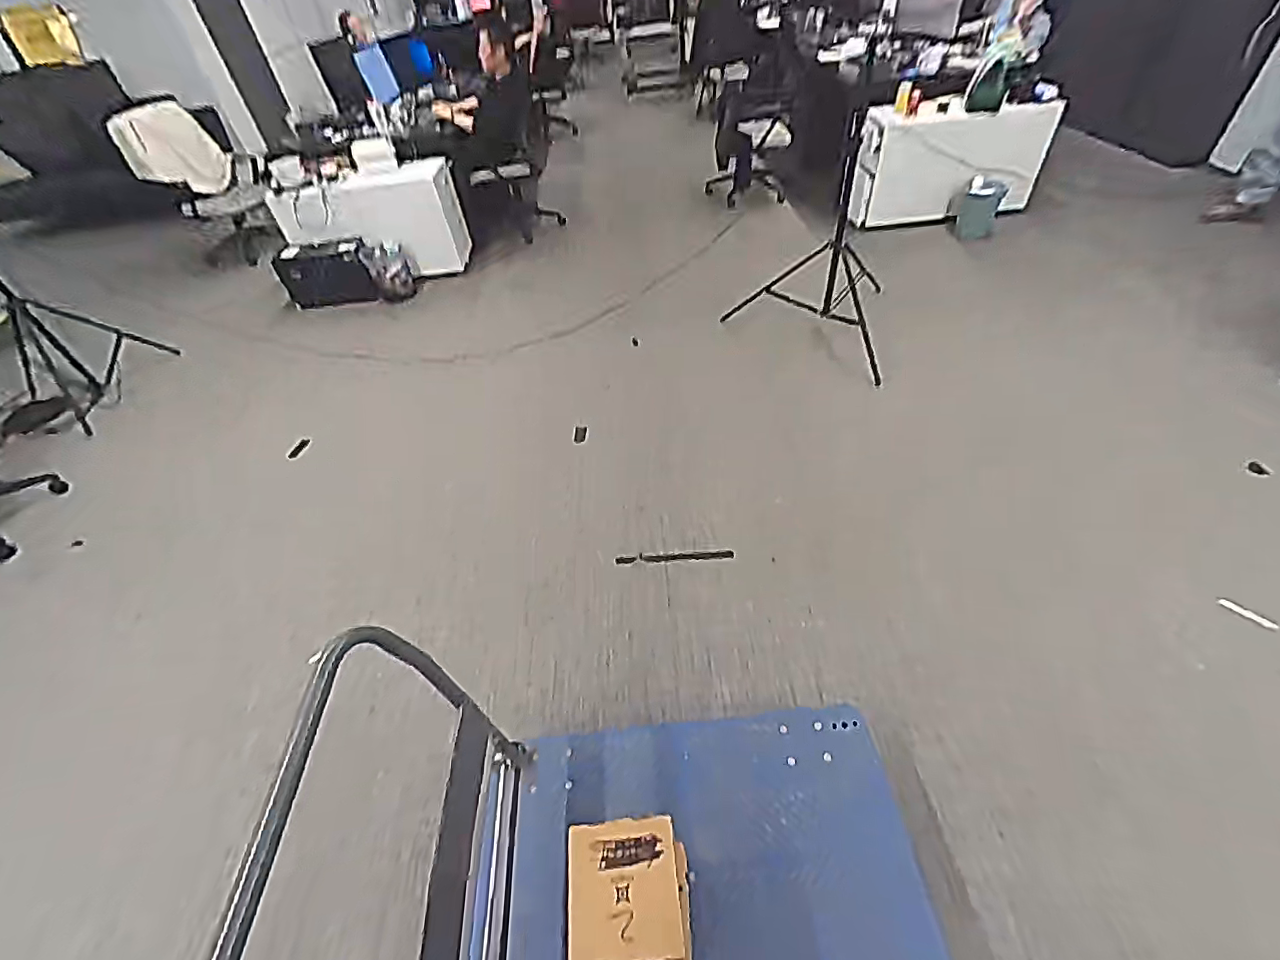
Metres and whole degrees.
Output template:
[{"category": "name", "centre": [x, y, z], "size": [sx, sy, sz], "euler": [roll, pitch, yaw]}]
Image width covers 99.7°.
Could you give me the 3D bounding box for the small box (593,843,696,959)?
[{"category": "small box", "centre": [0.012, 0.774, 0.968], "size": [0.168, 0.176, 0.179], "euler": [-5, 45, 4]}]
